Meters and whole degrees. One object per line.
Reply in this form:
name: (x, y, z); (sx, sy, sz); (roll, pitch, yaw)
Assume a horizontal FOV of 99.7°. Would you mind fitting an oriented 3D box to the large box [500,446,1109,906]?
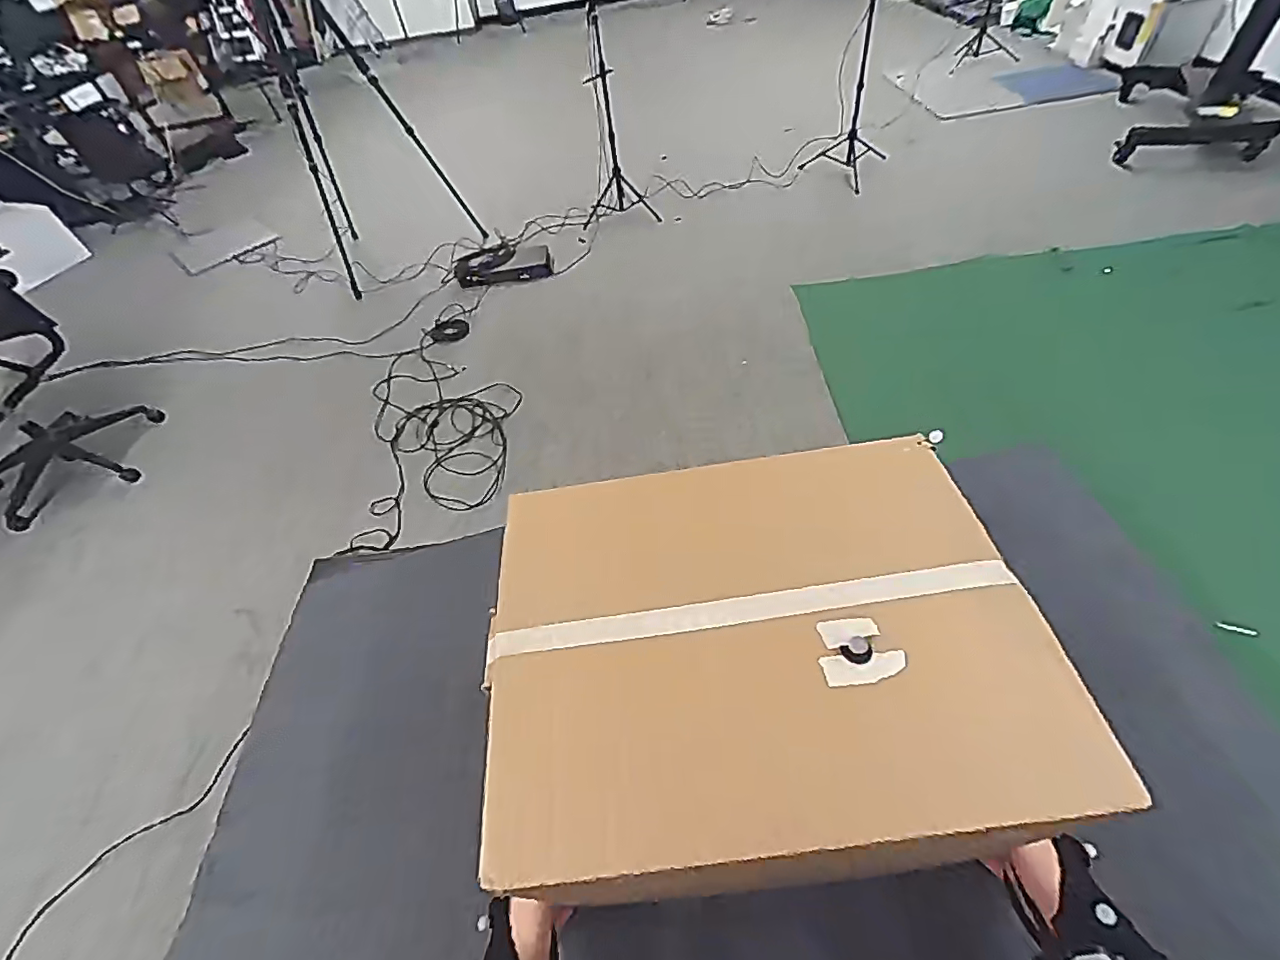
large box: (0.103, 0.206, 0.551); (0.408, 0.320, 0.320); (-8, 50, 1)
